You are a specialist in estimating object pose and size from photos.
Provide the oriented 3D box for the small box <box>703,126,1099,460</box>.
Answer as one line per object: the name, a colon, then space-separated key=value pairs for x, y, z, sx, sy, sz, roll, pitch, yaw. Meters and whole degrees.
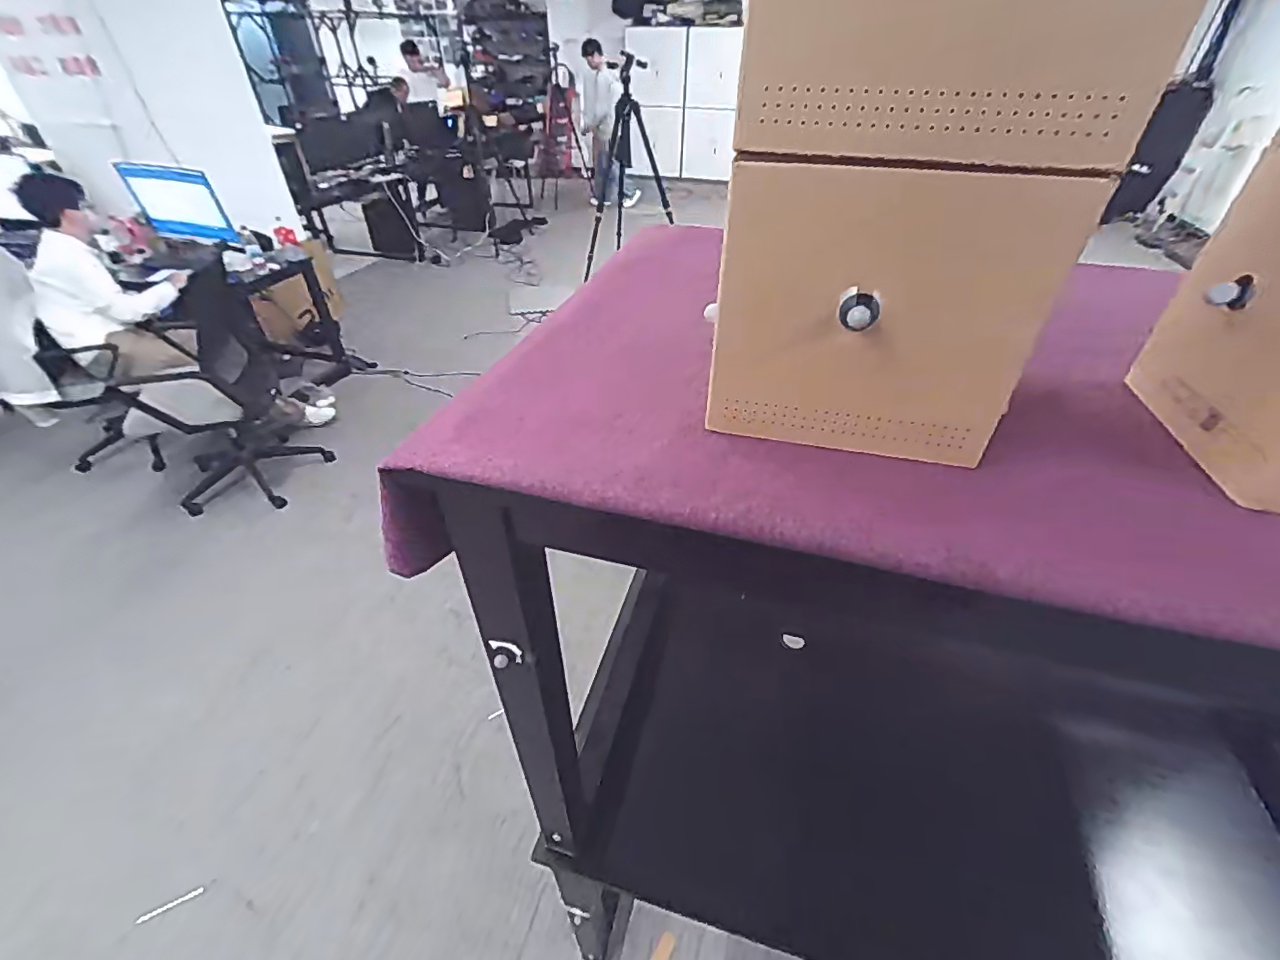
small box: x=0.145 y=-0.131 z=0.370 sx=0.179 sy=0.176 sz=0.168 roll=8 pitch=39 yaw=11
